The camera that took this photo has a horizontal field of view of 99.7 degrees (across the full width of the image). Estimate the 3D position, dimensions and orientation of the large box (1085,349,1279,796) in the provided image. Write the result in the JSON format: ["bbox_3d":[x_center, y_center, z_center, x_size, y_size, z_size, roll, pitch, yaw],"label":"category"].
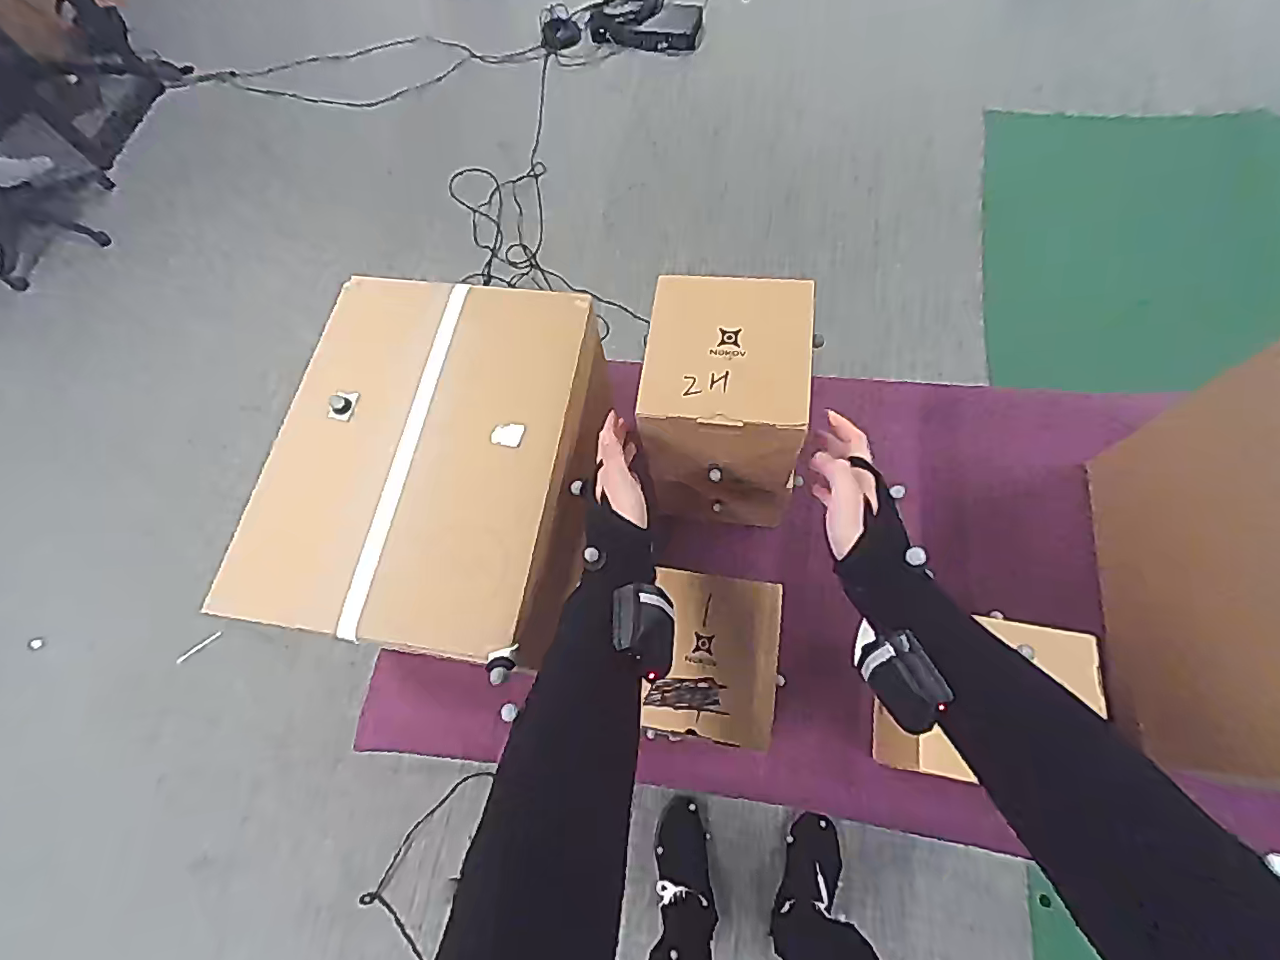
[{"bbox_3d":[0.741,0.121,0.555,0.320,0.320,0.408,7,69,11],"label":"large box"}]

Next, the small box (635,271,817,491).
[{"bbox_3d":[0.096,-0.105,0.610,0.168,0.176,0.179,6,69,10],"label":"small box"}]

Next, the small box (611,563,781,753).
[{"bbox_3d":[0.072,0.218,0.660,0.168,0.176,0.179,8,67,9],"label":"small box"}]
